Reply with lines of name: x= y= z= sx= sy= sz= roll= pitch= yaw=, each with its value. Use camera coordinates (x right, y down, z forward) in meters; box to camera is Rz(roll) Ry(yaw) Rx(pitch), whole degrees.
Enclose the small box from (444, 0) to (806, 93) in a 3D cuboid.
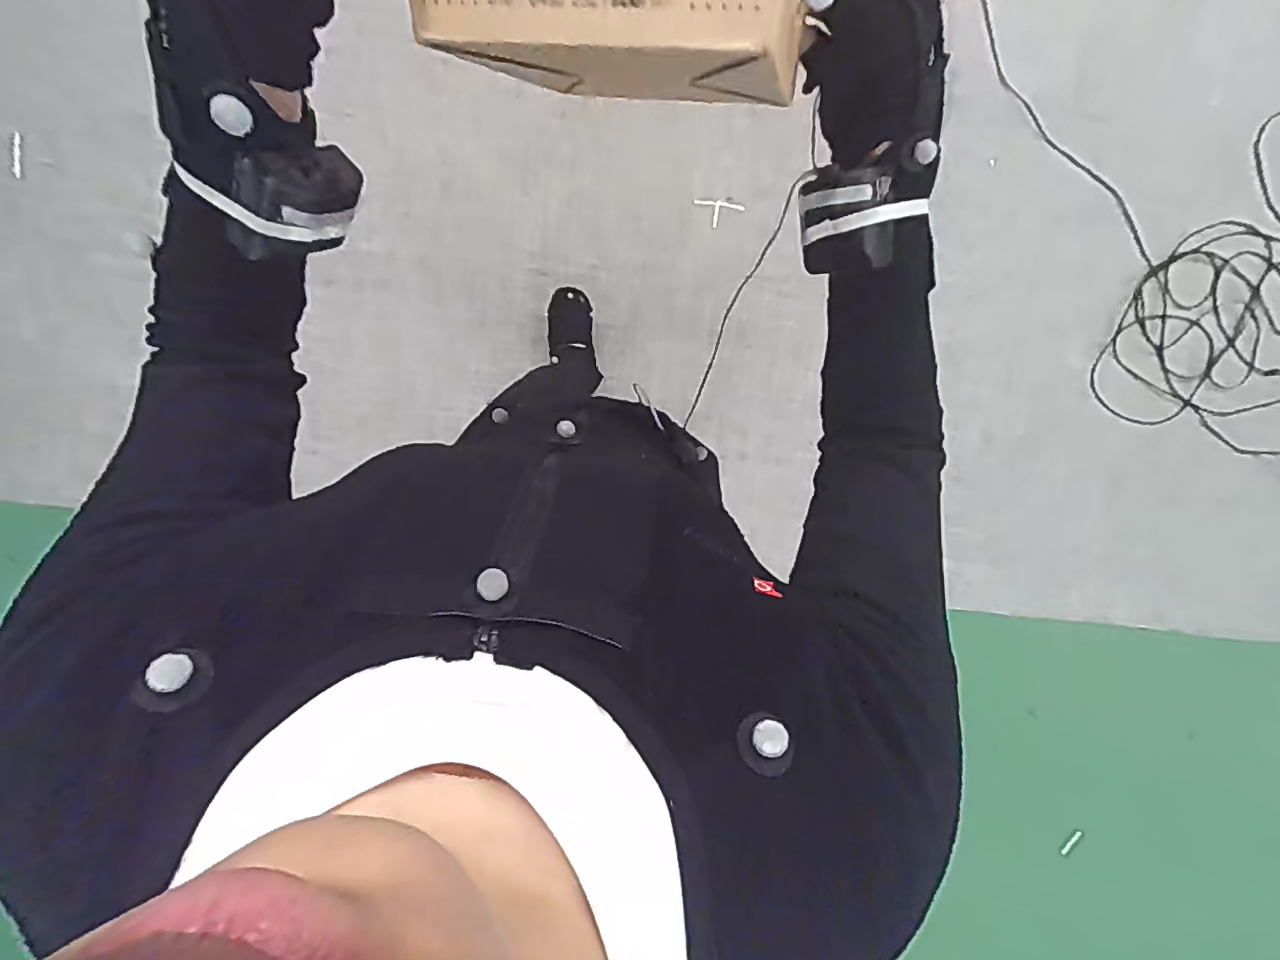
small box: x=0.007 y=-0.304 z=0.270 sx=0.168 sy=0.179 sz=0.176 roll=11 pitch=121 yaw=11
